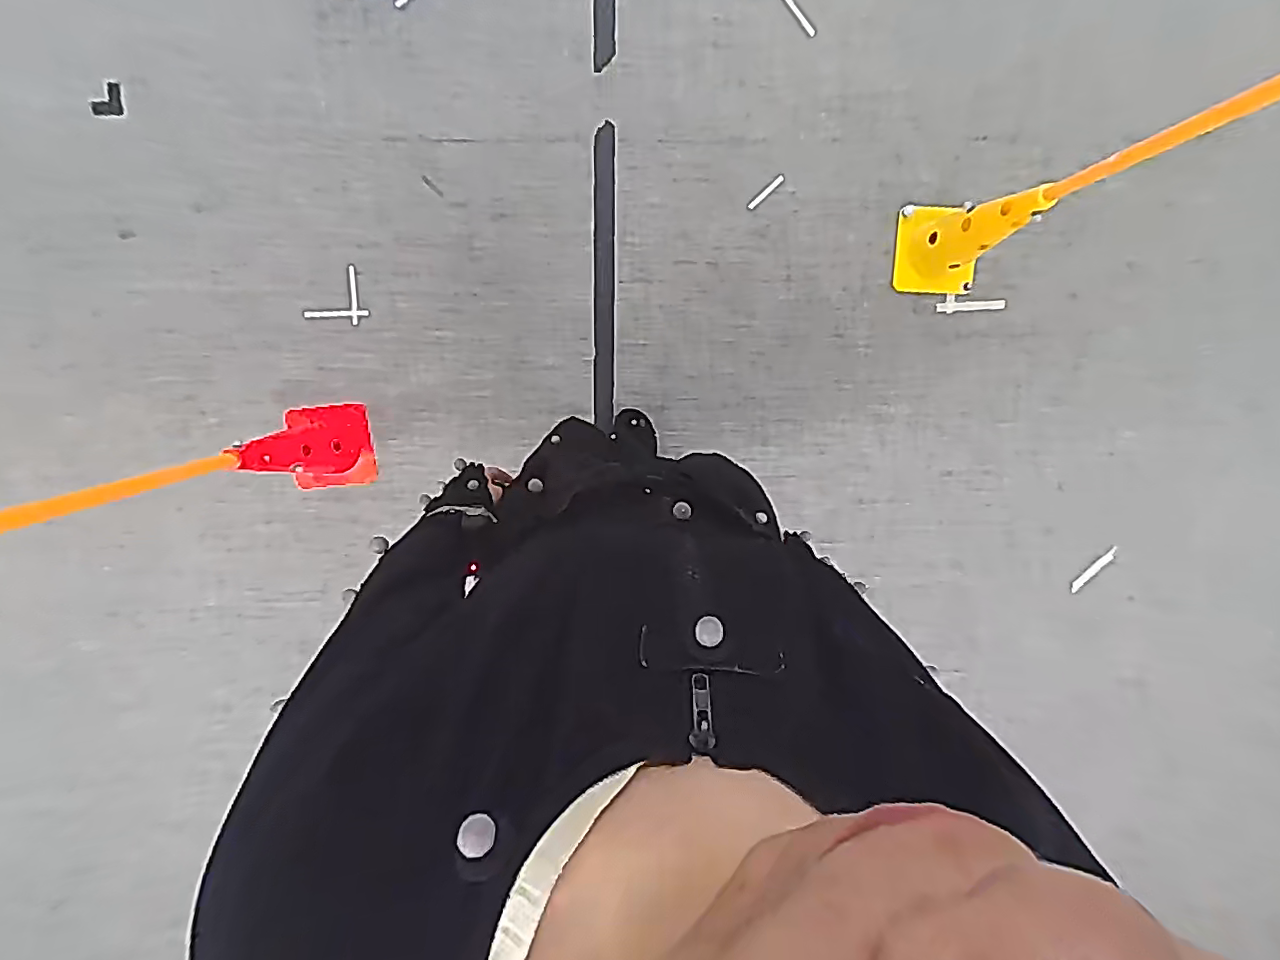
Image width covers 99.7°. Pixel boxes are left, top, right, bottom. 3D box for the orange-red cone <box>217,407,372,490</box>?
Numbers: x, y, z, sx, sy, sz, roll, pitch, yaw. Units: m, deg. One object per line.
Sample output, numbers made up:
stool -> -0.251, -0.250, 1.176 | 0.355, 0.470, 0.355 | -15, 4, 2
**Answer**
orange-red cone -> -0.758, -0.053, 1.156 | 0.199, 0.360, 0.198 | -6, 98, -2
